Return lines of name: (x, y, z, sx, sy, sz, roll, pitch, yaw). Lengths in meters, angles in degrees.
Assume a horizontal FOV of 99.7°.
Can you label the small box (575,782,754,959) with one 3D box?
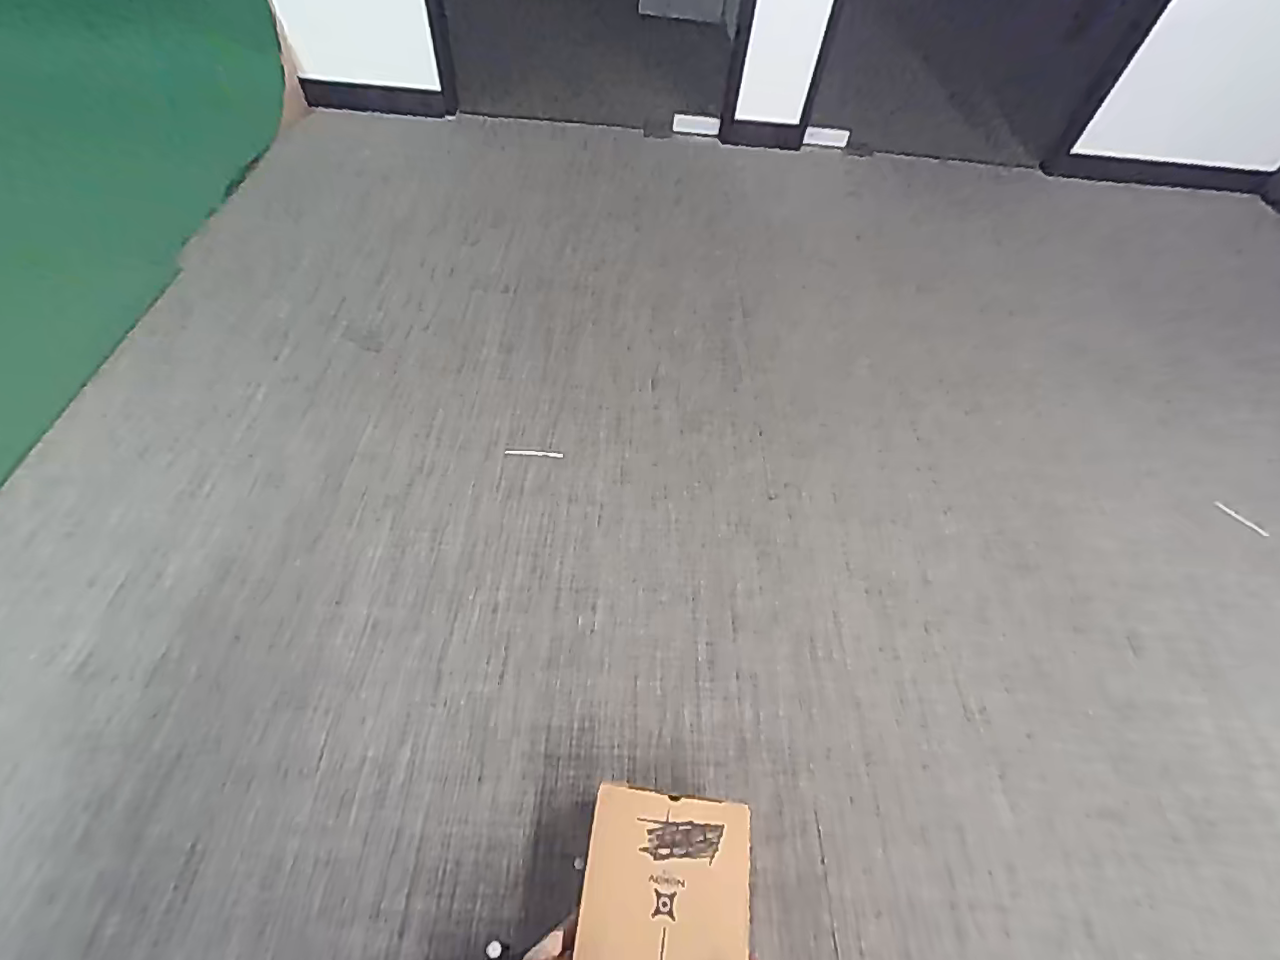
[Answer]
small box: (0.022, 0.452, 0.595, 0.168, 0.176, 0.179, 9, 55, 0)
